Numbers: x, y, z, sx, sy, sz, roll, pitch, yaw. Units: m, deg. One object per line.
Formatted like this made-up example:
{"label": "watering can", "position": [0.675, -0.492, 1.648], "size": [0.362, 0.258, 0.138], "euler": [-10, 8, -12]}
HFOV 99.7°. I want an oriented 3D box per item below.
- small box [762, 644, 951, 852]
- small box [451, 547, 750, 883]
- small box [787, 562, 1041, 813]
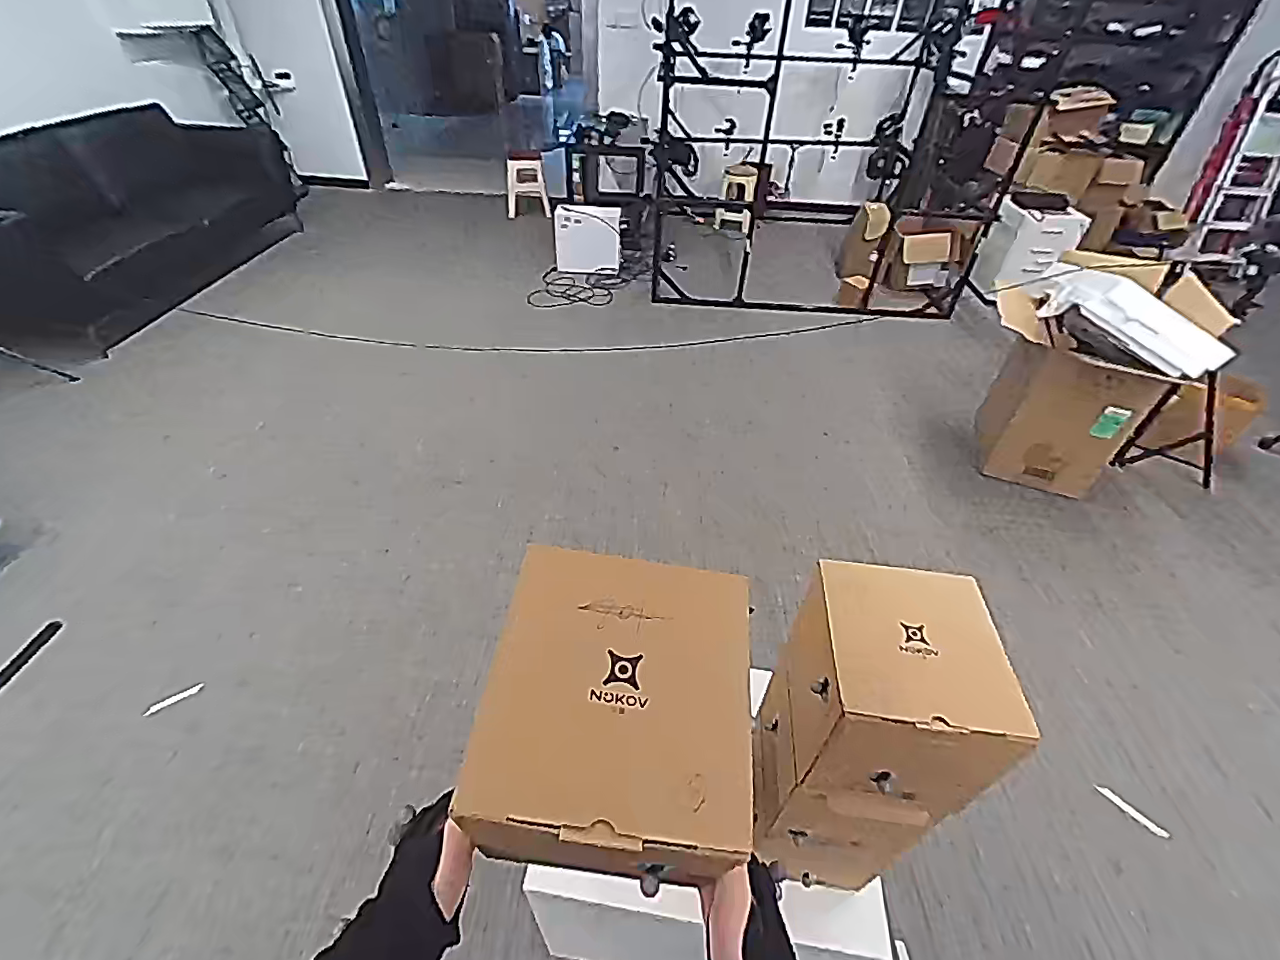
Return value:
{"label": "small box", "position": [0.250, 0.335, 0.675], "size": [0.168, 0.176, 0.179], "euler": [7, 41, 4]}
{"label": "small box", "position": [-0.018, 0.178, 0.402], "size": [0.168, 0.176, 0.179], "euler": [9, 48, 0]}
{"label": "small box", "position": [0.258, 0.214, 0.566], "size": [0.168, 0.176, 0.179], "euler": [7, 42, 4]}
